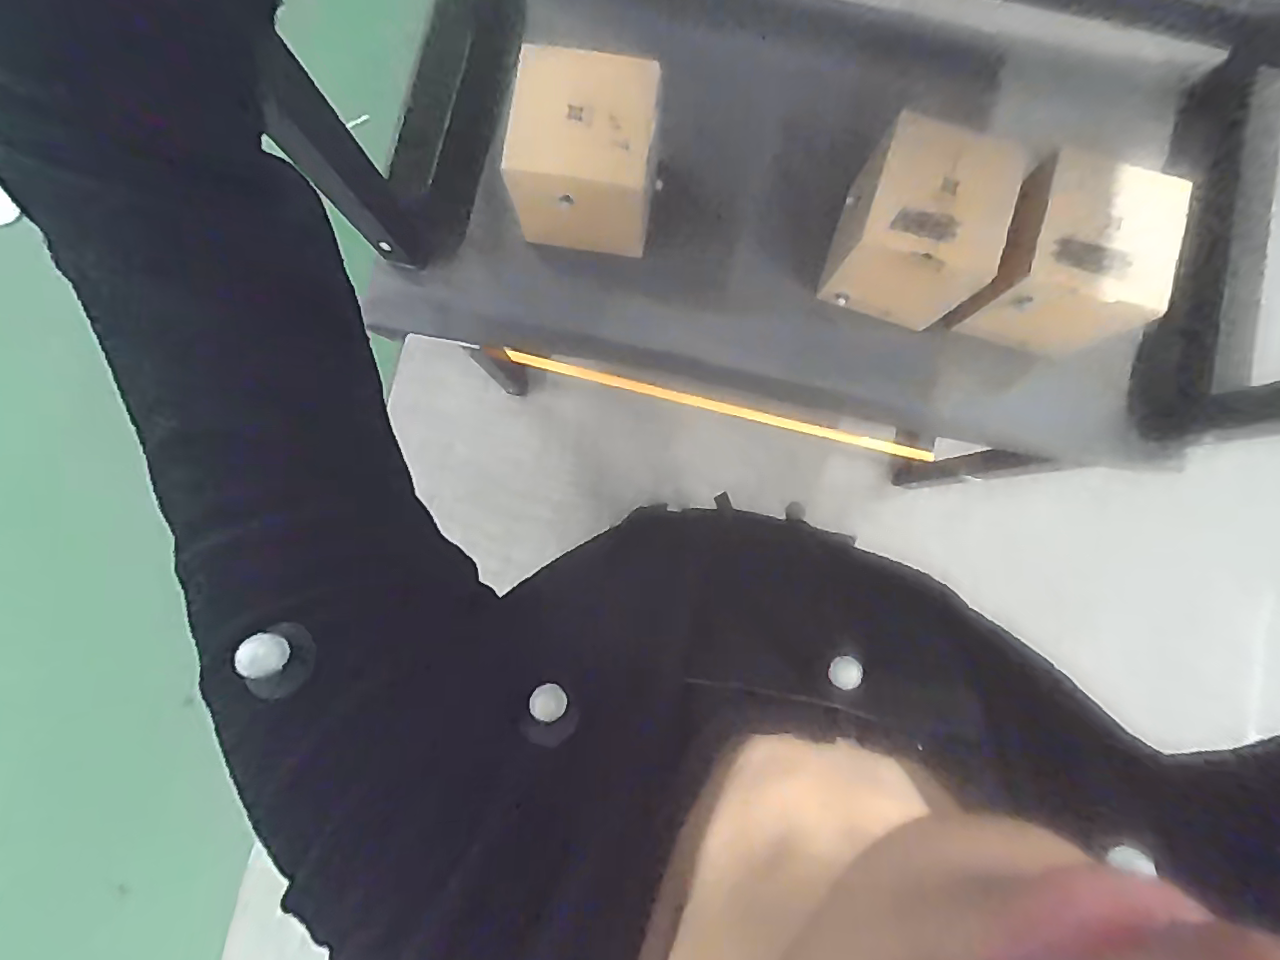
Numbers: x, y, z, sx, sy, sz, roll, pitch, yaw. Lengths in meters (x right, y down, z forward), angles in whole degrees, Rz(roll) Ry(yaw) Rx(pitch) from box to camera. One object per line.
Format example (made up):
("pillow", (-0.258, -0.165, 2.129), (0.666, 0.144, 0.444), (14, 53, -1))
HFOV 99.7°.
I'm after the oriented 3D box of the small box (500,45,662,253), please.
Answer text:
("small box", (-0.071, -0.431, 0.732), (0.179, 0.176, 0.168), (9, 86, 0))
